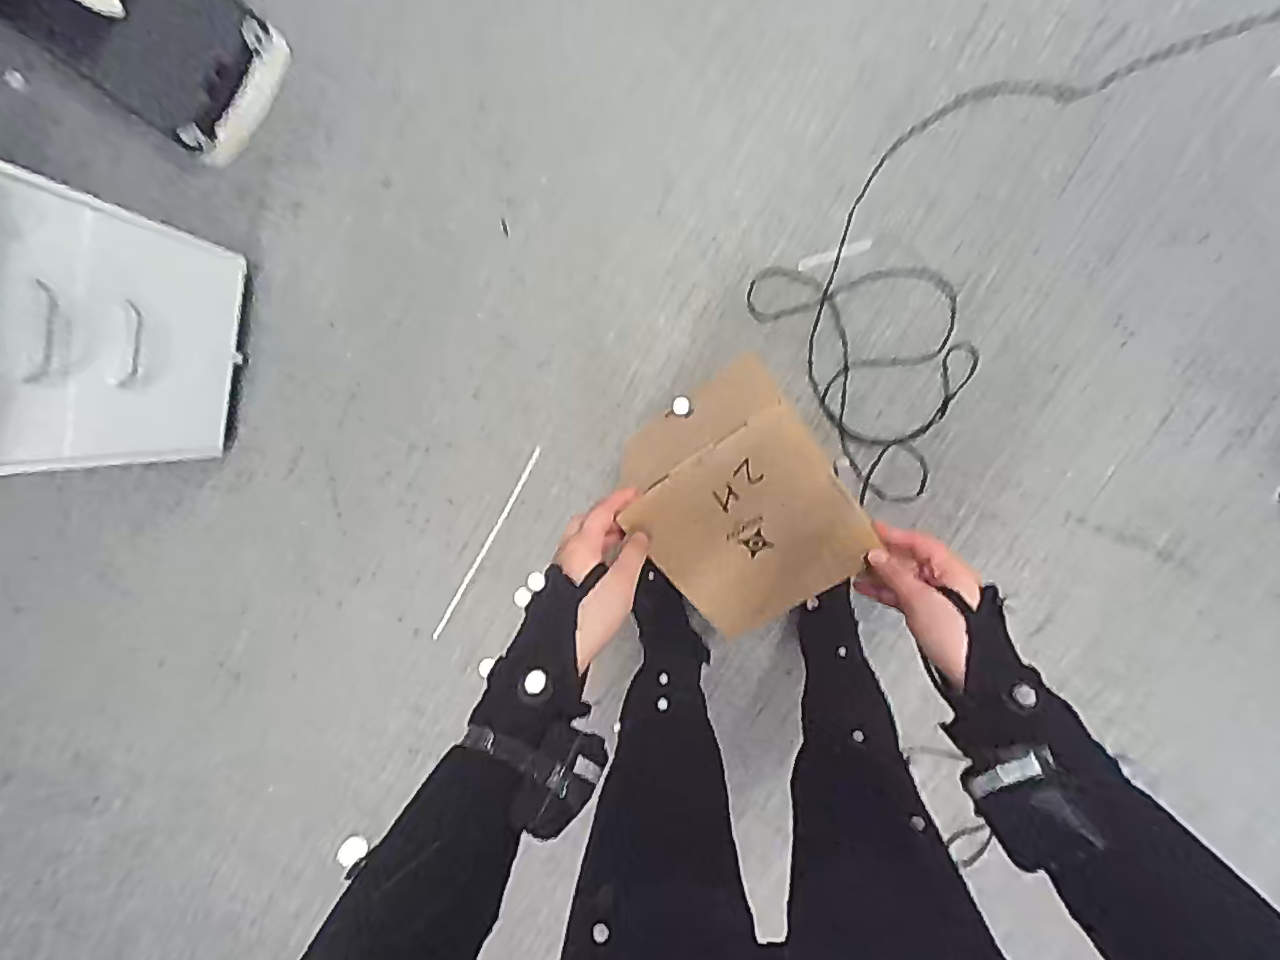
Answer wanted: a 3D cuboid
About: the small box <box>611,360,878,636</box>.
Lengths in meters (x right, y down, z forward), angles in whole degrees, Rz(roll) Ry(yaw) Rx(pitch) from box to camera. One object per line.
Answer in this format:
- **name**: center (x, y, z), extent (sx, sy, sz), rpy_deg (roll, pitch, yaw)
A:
- **small box**: center (0.095, 0.010, 0.530), extent (0.168, 0.176, 0.179), rpy_deg (-34, 109, 18)
